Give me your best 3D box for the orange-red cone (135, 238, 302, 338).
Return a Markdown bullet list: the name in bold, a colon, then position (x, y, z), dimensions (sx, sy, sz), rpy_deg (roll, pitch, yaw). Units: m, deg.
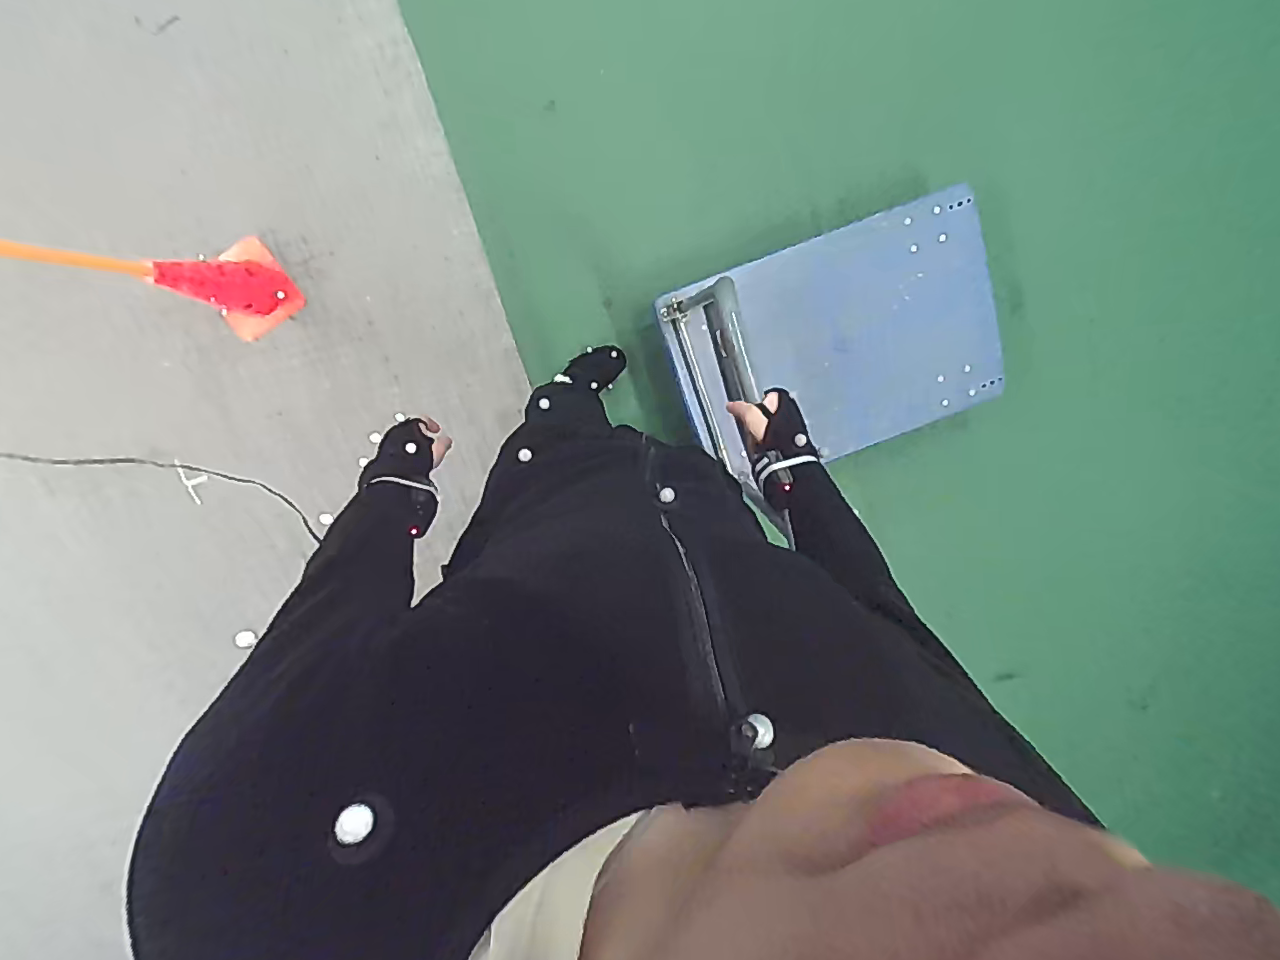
- **orange-red cone**: position (-0.992, -0.457, 1.232), dimensions (0.198, 0.360, 0.199), rpy_deg (-32, 103, 1)
